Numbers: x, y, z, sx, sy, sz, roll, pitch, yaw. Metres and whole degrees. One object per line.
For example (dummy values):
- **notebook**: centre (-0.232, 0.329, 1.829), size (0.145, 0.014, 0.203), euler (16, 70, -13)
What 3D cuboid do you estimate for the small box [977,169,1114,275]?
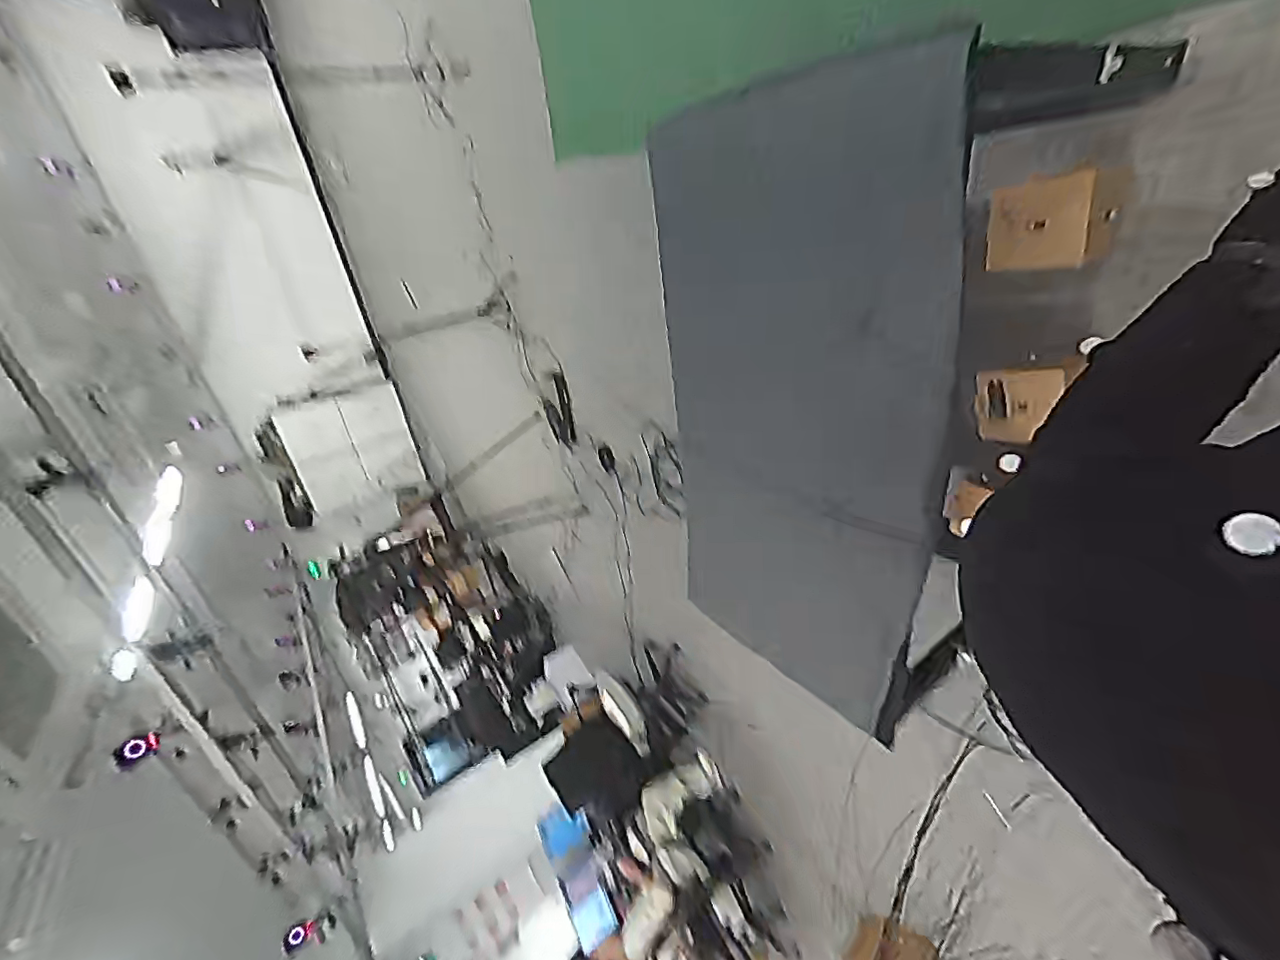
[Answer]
- **small box**: centre (0.827, -0.525, 1.106), size (0.179, 0.176, 0.168), euler (22, 129, 52)

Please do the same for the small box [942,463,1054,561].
- **small box**: centre (0.932, 0.075, 1.409), size (0.179, 0.176, 0.168), euler (32, 138, 46)
